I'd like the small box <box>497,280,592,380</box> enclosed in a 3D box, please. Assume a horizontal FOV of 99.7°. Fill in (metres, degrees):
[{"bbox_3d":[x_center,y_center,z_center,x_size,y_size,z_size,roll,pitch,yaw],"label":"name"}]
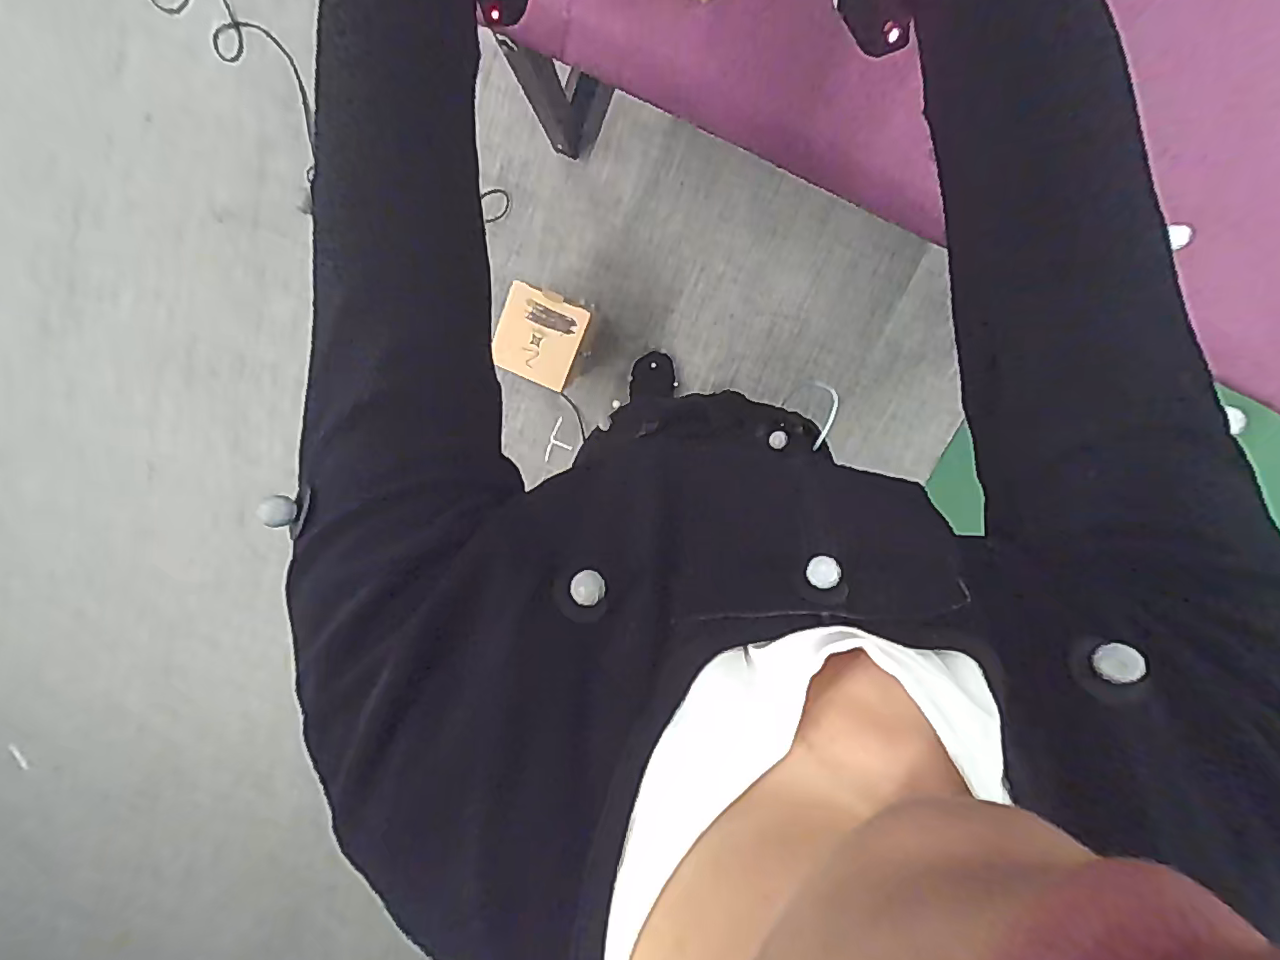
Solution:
[{"bbox_3d":[-0.225,-0.366,1.319,0.168,0.176,0.179,24,105,-6],"label":"small box"}]
